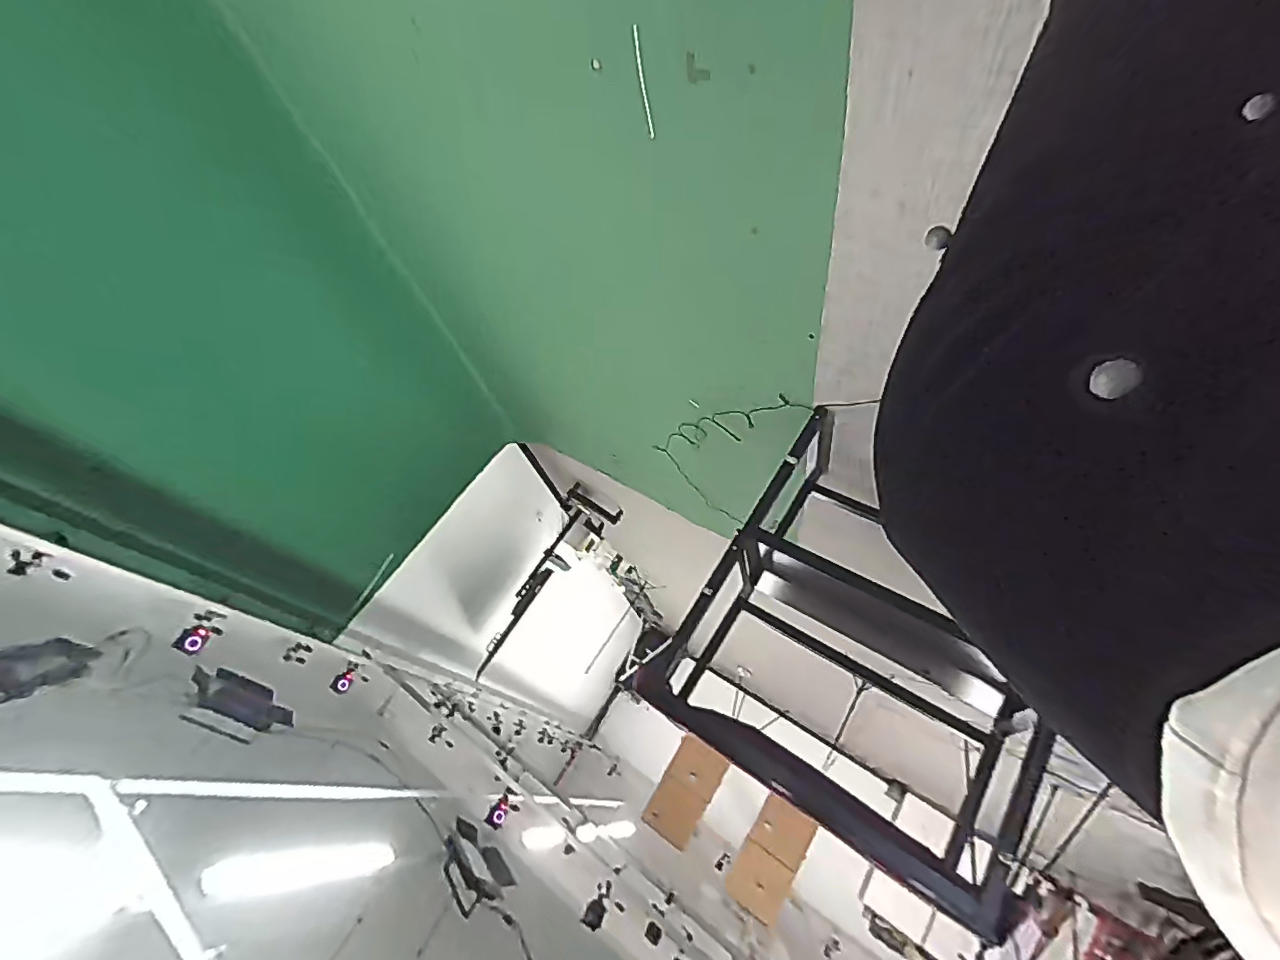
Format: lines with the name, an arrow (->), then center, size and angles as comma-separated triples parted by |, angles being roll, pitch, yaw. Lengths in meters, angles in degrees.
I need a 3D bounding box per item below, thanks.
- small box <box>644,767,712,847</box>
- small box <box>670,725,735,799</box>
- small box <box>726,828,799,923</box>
small box -> 0.141, 1.128, 1.874 | 0.179, 0.176, 0.168 | 27, 158, 24
small box -> 0.230, 1.004, 1.928 | 0.179, 0.176, 0.168 | 27, 158, 25
small box -> 0.395, 1.258, 1.734 | 0.179, 0.176, 0.168 | 26, 159, 25
